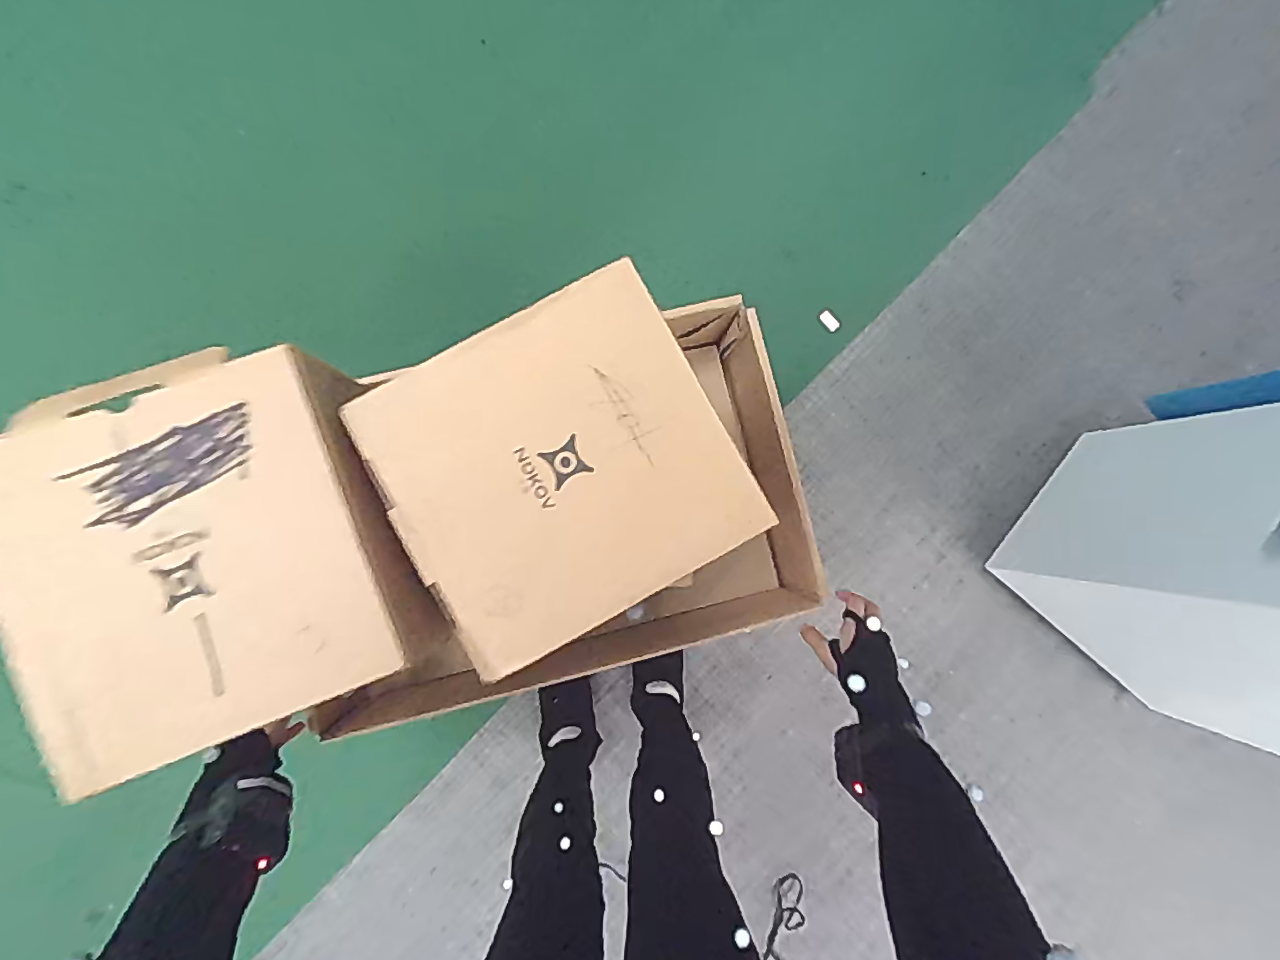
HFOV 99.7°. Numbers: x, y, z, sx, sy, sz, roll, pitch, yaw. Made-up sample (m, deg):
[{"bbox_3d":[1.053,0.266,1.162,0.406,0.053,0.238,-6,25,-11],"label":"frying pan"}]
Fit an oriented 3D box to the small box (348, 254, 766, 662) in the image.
[{"bbox_3d":[-0.045,-0.008,0.366,0.179,0.176,0.168,-28,88,-3],"label":"small box"}]
